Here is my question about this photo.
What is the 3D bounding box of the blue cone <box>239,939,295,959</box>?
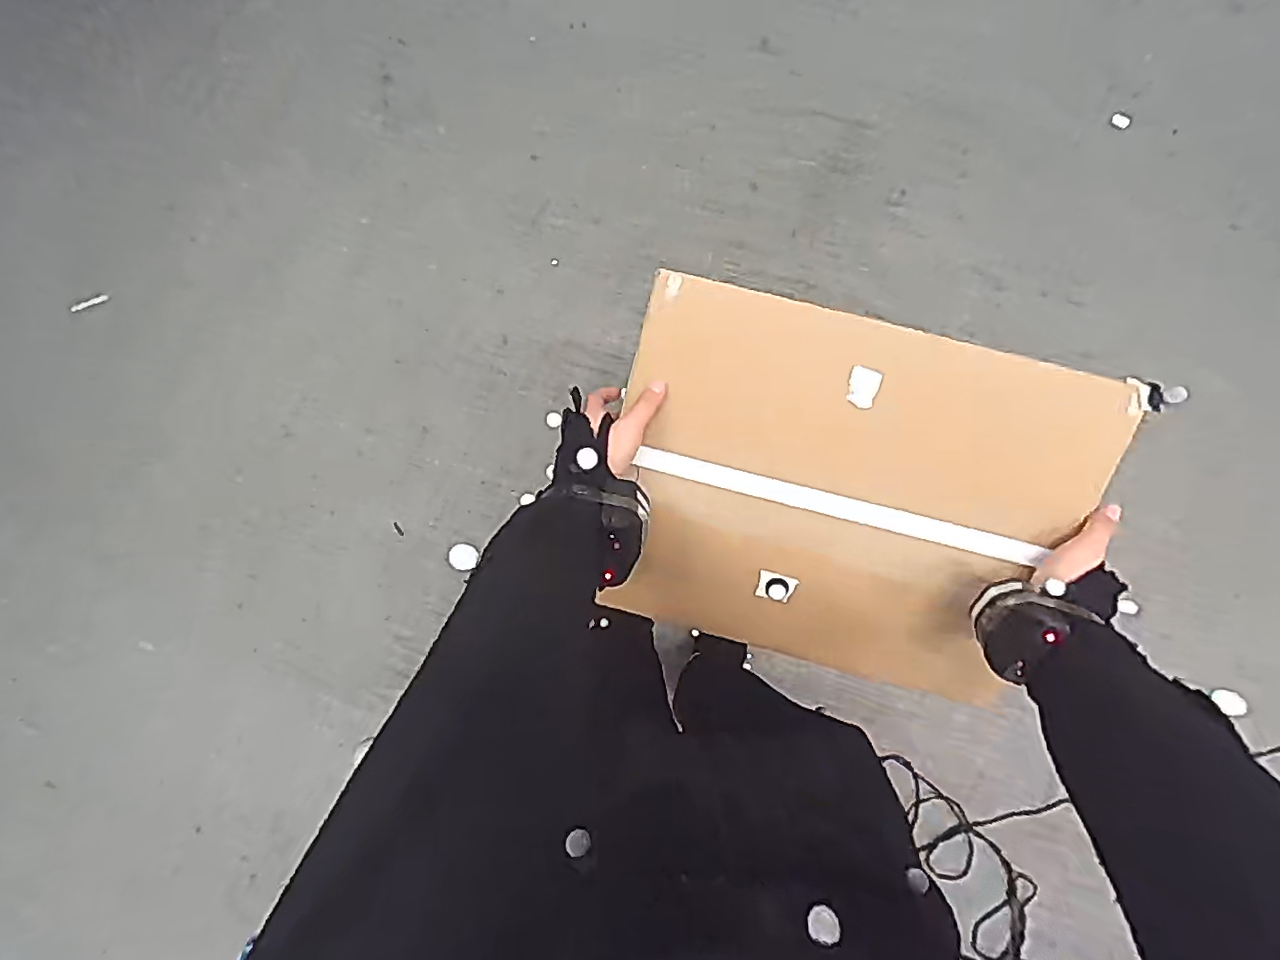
[{"bbox_3d":[-0.795,1.064,0.969,0.192,0.380,0.193,20,84,7],"label":"blue cone"}]
